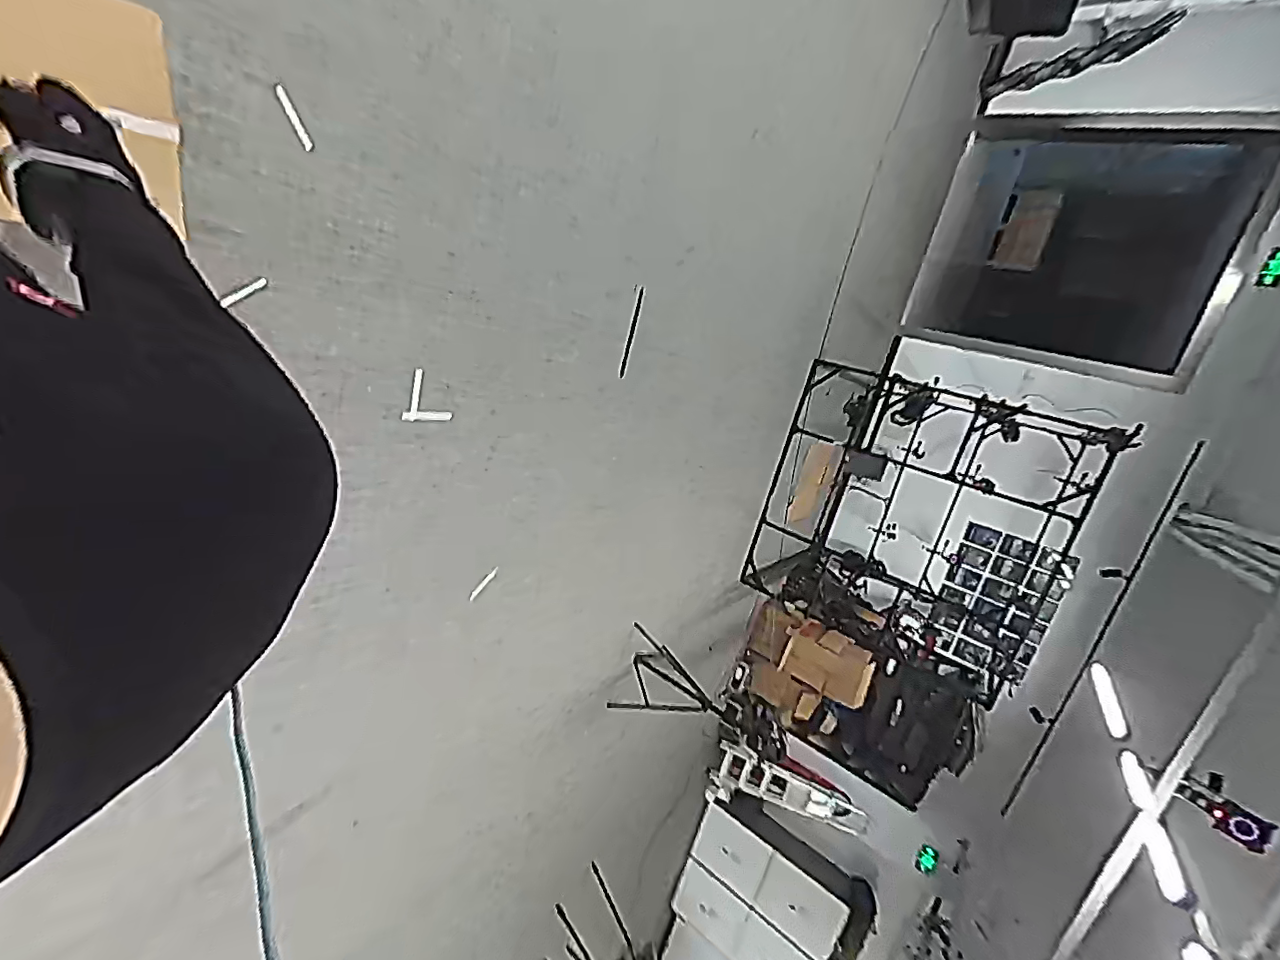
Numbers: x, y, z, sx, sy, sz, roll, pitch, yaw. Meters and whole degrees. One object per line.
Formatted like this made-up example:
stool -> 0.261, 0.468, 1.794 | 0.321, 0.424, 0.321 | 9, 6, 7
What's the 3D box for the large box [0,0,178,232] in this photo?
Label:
large box -> -0.970, -0.565, 0.763 | 0.408, 0.320, 0.320 | -17, 125, -51
